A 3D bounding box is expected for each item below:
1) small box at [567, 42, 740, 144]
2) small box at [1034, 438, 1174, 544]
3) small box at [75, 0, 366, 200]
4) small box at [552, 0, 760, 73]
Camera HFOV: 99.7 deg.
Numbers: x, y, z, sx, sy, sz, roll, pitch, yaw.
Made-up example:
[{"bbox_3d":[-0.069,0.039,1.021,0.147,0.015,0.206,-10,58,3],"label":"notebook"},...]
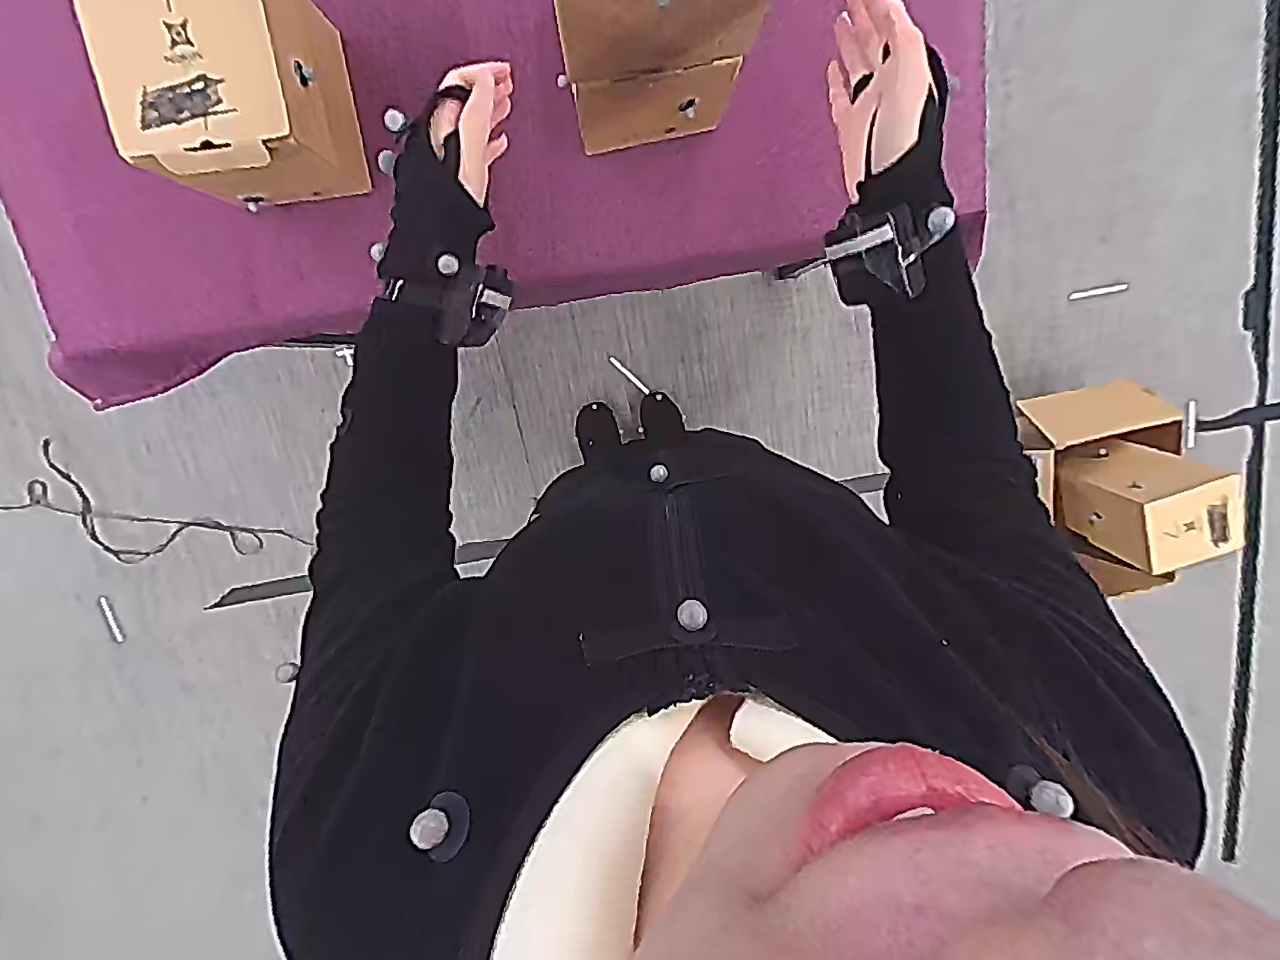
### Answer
[{"bbox_3d":[-0.001,-0.483,0.571,0.168,0.176,0.179,-11,102,0],"label":"small box"},{"bbox_3d":[1.090,0.016,1.285,0.168,0.176,0.179,-31,105,8],"label":"small box"},{"bbox_3d":[-0.418,-0.412,0.570,0.168,0.176,0.179,-8,102,-1],"label":"small box"},{"bbox_3d":[0.007,-0.449,0.411,0.179,0.176,0.168,-10,103,-1],"label":"small box"}]
